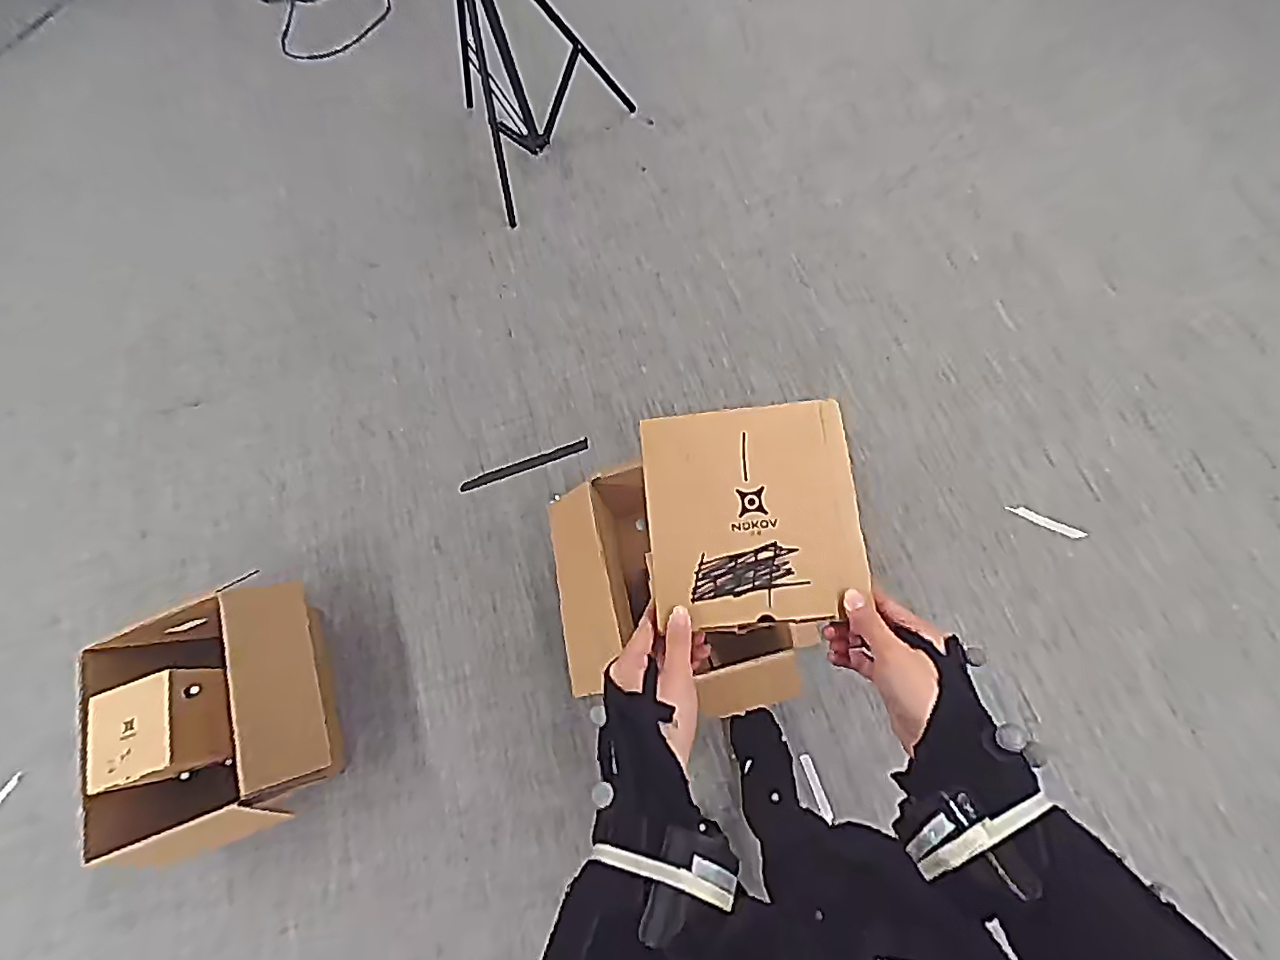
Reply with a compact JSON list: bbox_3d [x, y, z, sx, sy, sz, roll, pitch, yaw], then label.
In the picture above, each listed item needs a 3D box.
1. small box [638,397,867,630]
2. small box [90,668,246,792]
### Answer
[{"bbox_3d":[0.092,0.040,0.508,0.168,0.176,0.179,-6,77,3],"label":"small box"},{"bbox_3d":[-0.927,0.488,1.076,0.168,0.176,0.179,-20,70,2],"label":"small box"}]
